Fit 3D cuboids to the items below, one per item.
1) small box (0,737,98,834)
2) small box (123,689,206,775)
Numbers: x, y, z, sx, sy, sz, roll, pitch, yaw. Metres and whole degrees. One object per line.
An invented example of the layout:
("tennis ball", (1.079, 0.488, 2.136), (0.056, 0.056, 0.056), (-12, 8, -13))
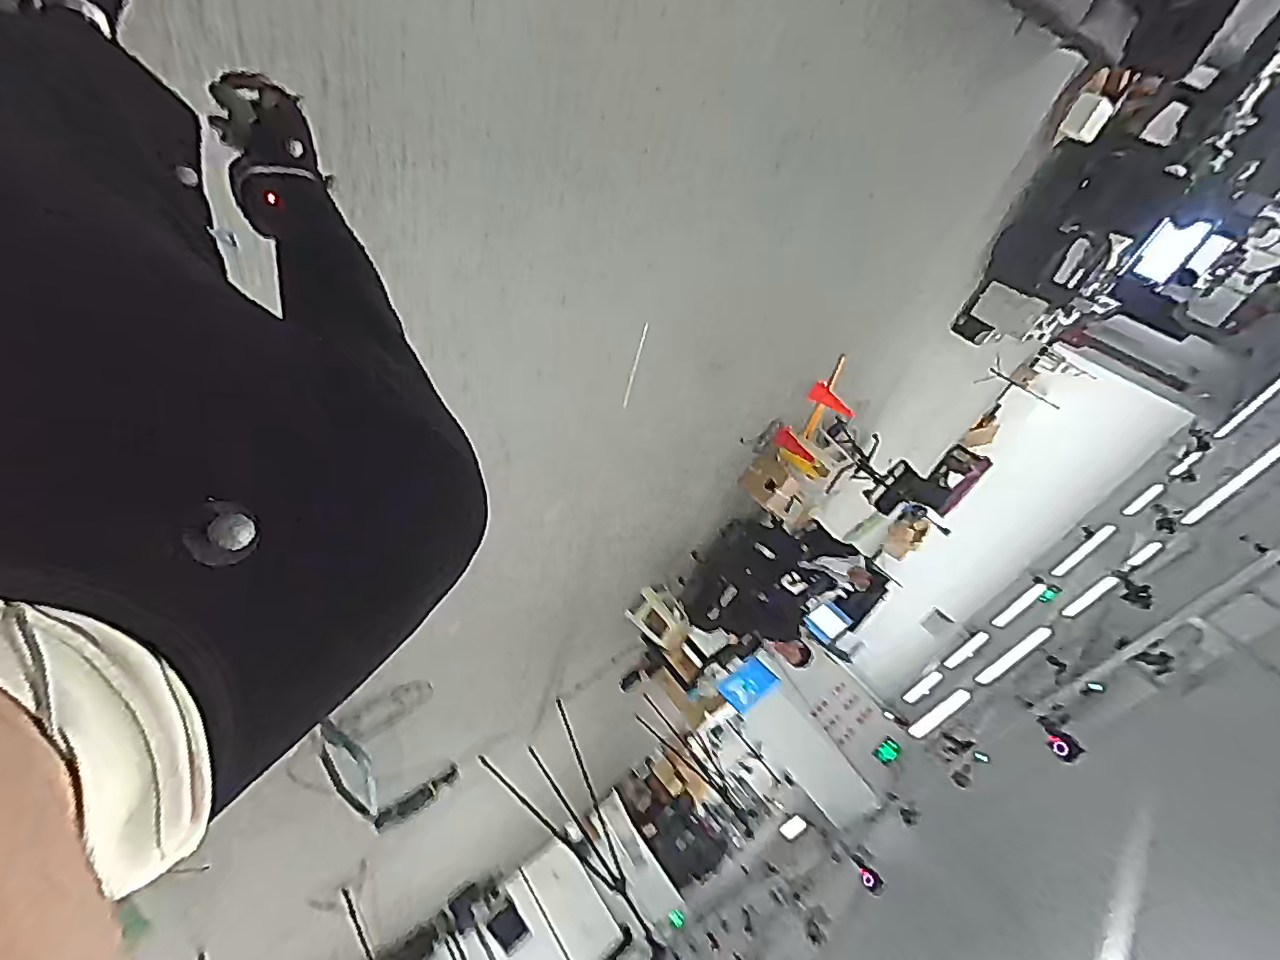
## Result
("small box", (-1.802, 0.925, 1.647), (0.168, 0.176, 0.179), (-22, 144, -39))
("small box", (-1.598, 0.843, 1.820), (0.168, 0.176, 0.179), (-20, 142, -39))
